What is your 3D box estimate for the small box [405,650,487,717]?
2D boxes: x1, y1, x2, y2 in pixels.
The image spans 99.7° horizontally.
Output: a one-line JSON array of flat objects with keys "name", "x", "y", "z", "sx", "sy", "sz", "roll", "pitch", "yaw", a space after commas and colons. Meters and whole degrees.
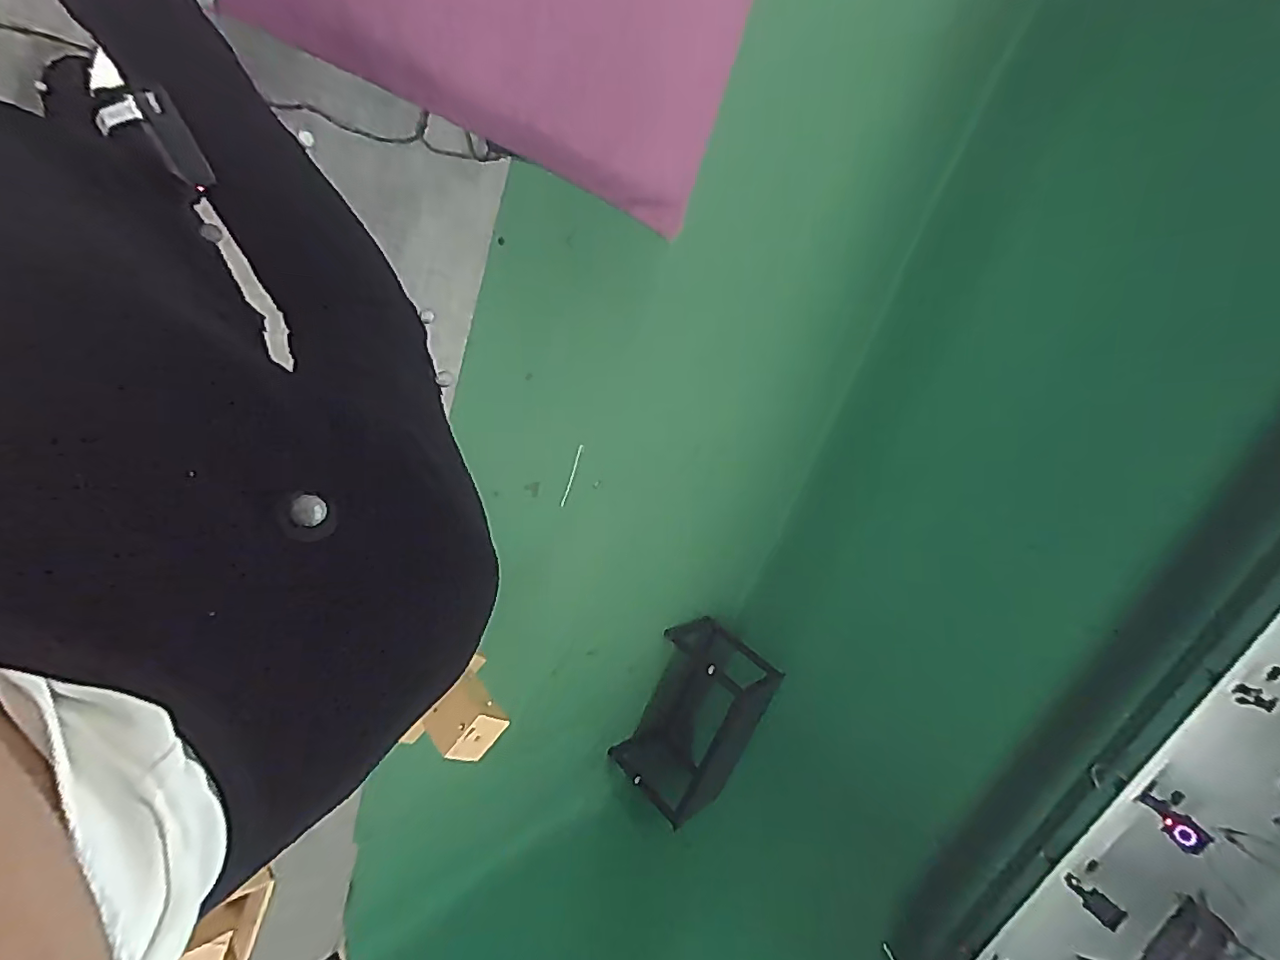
[{"name": "small box", "x": -0.685, "y": 0.727, "z": 1.909, "sx": 0.168, "sy": 0.176, "sz": 0.179, "roll": -50, "pitch": 143, "yaw": -10}]

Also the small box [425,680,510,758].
[{"name": "small box", "x": -0.577, "y": 0.796, "z": 1.806, "sx": 0.168, "sy": 0.176, "sz": 0.179, "roll": -50, "pitch": 145, "yaw": -9}]

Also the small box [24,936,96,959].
[{"name": "small box", "x": -1.406, "y": 1.245, "z": 1.271, "sx": 0.168, "sy": 0.176, "sz": 0.179, "roll": 8, "pitch": 109, "yaw": -53}]
